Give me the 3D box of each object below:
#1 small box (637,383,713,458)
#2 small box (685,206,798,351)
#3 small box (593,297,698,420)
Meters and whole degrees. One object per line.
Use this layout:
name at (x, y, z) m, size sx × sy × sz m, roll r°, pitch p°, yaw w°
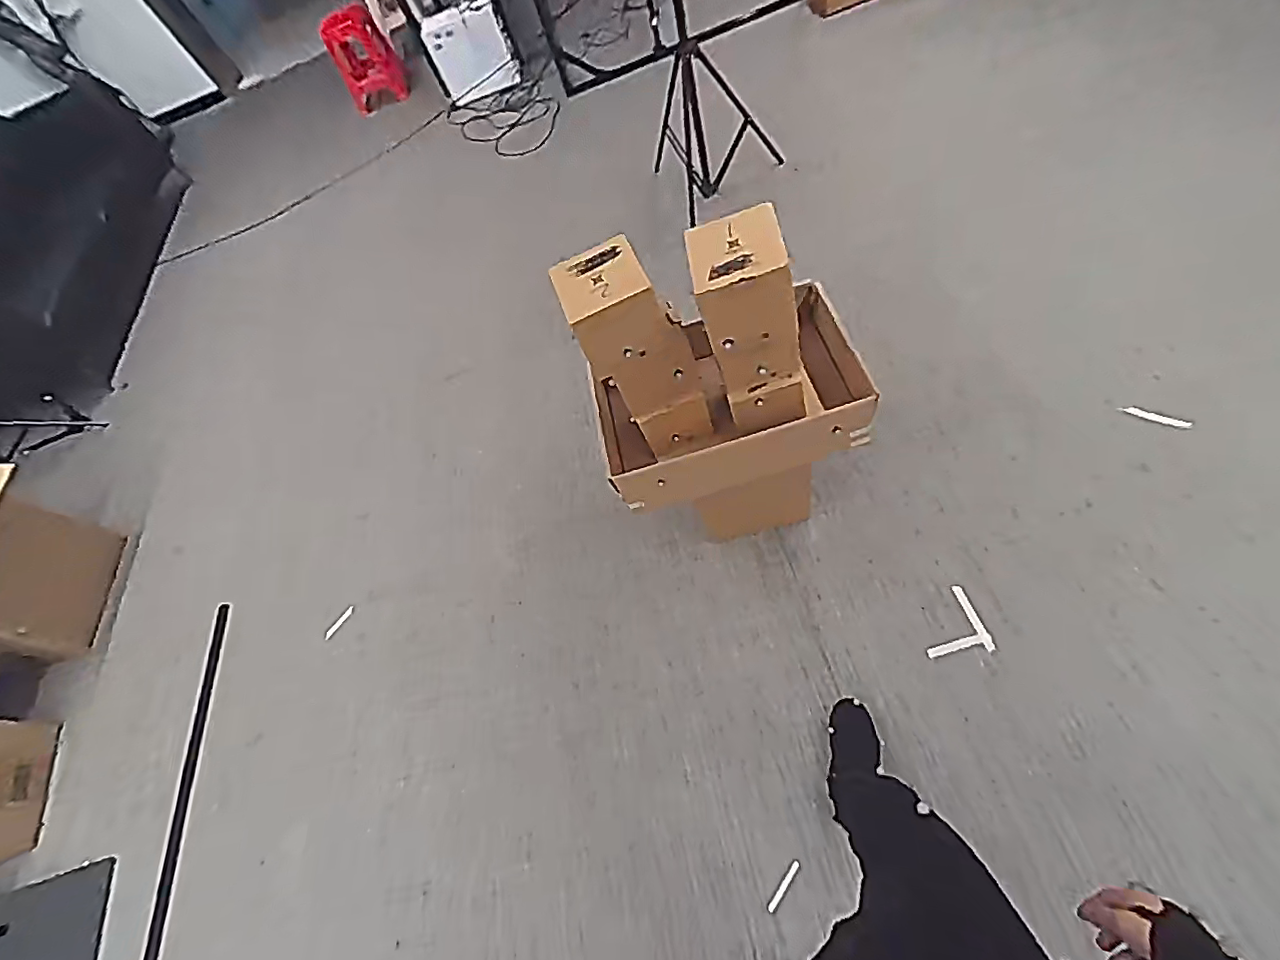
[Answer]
small box at (0.067, -0.185, 1.343) m, size 0.168 × 0.176 × 0.179 m, roll -24°, pitch 58°, yaw 4°
small box at (0.192, -0.363, 1.010) m, size 0.168 × 0.176 × 0.179 m, roll -13°, pitch 59°, yaw 14°
small box at (0.020, -0.266, 1.209) m, size 0.179 × 0.176 × 0.168 m, roll -24°, pitch 57°, yaw 3°
